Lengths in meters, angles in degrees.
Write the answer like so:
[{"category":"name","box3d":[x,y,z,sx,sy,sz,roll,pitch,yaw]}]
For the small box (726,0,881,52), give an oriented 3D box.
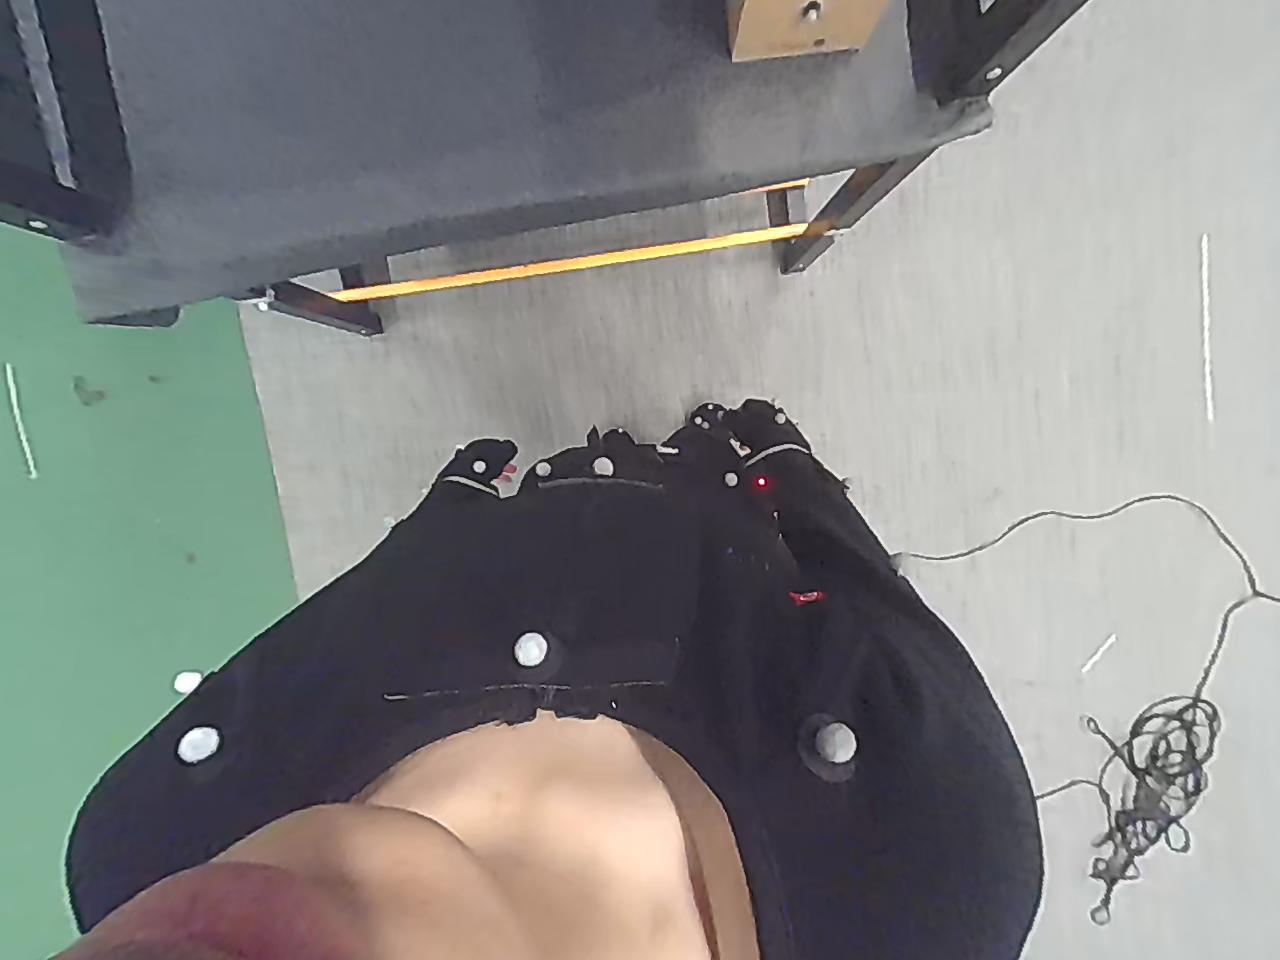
[{"category":"small box","box3d":[0.186,-0.605,0.585,0.168,0.176,0.179,-5,96,1]}]
